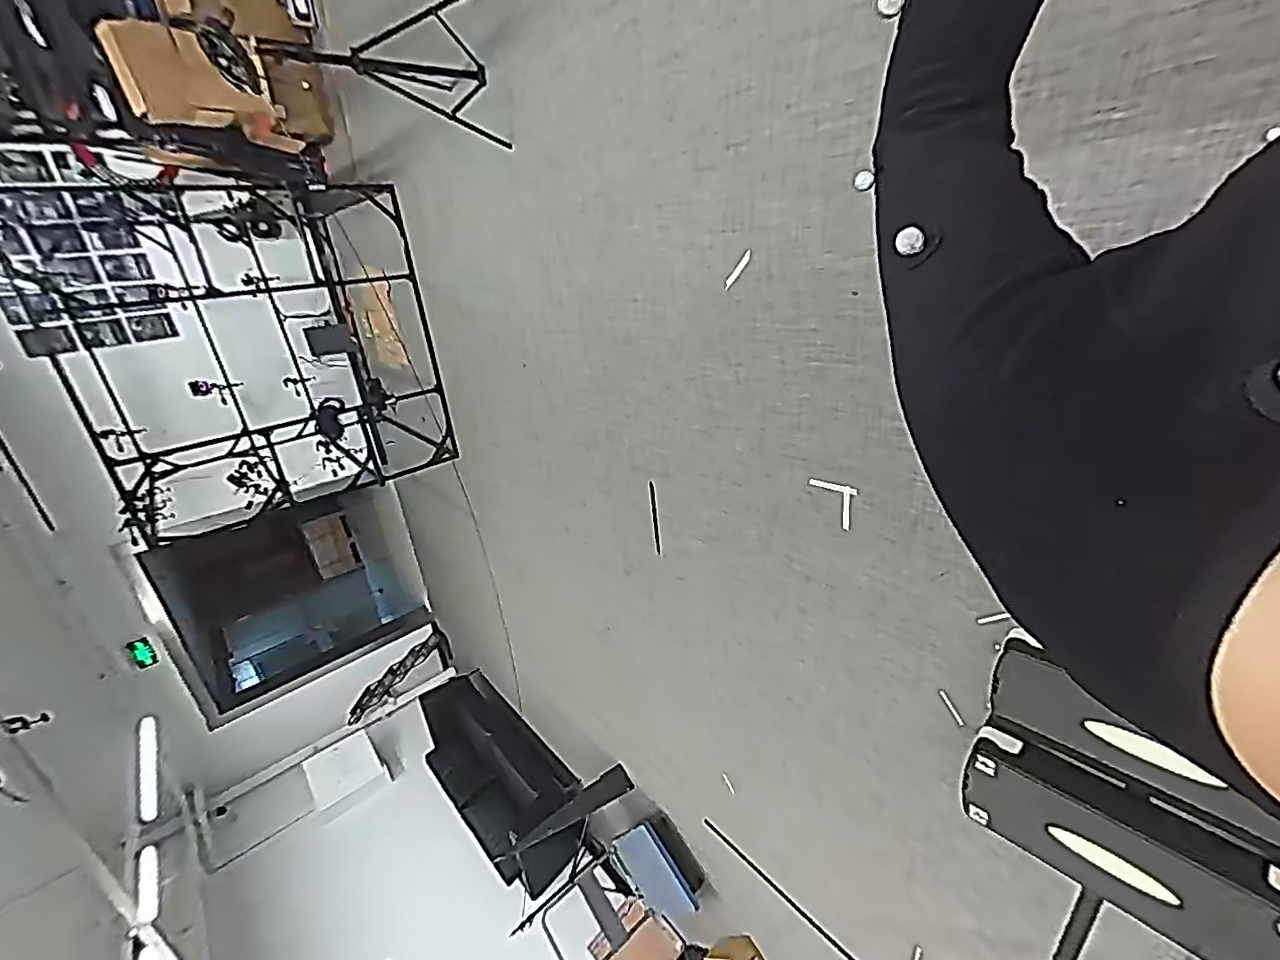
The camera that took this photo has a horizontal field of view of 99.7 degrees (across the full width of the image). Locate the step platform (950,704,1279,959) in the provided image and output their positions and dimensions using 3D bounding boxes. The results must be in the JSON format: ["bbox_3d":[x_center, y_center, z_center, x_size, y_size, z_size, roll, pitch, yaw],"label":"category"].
[{"bbox_3d":[1.194,0.892,1.398,0.684,0.204,0.286,19,123,48],"label":"step platform"}]
